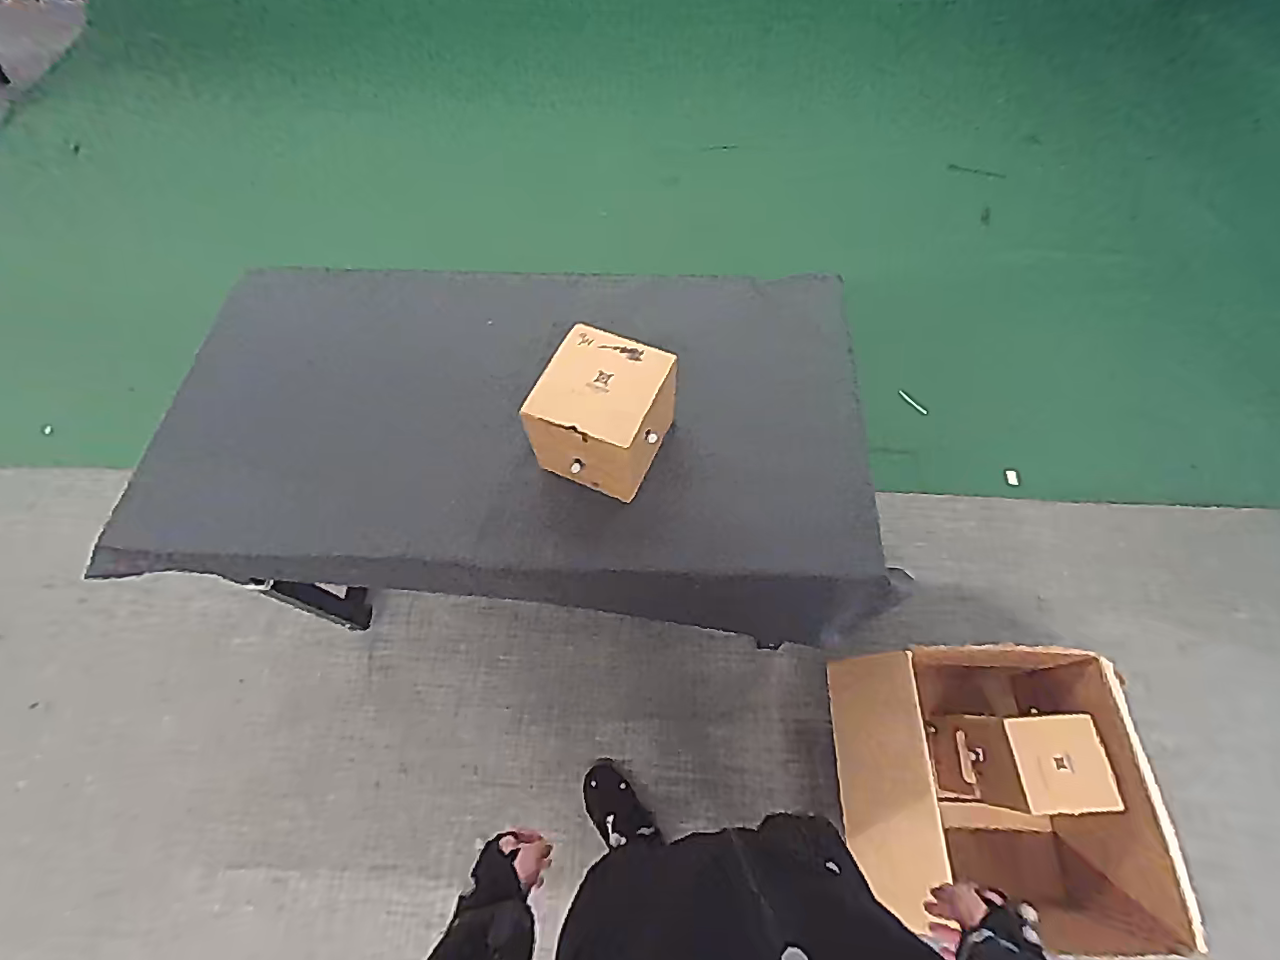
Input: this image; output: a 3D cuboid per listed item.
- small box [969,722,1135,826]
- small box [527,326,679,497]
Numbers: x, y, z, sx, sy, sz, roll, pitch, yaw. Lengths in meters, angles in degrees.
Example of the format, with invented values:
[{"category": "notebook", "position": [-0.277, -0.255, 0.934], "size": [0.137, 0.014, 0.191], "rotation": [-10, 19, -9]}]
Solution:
[{"category": "small box", "position": [0.801, 0.574, 1.072], "size": [0.179, 0.176, 0.168], "rotation": [-4, 65, 1]}, {"category": "small box", "position": [-0.047, -0.099, 0.838], "size": [0.168, 0.176, 0.179], "rotation": [22, 66, 12]}]
